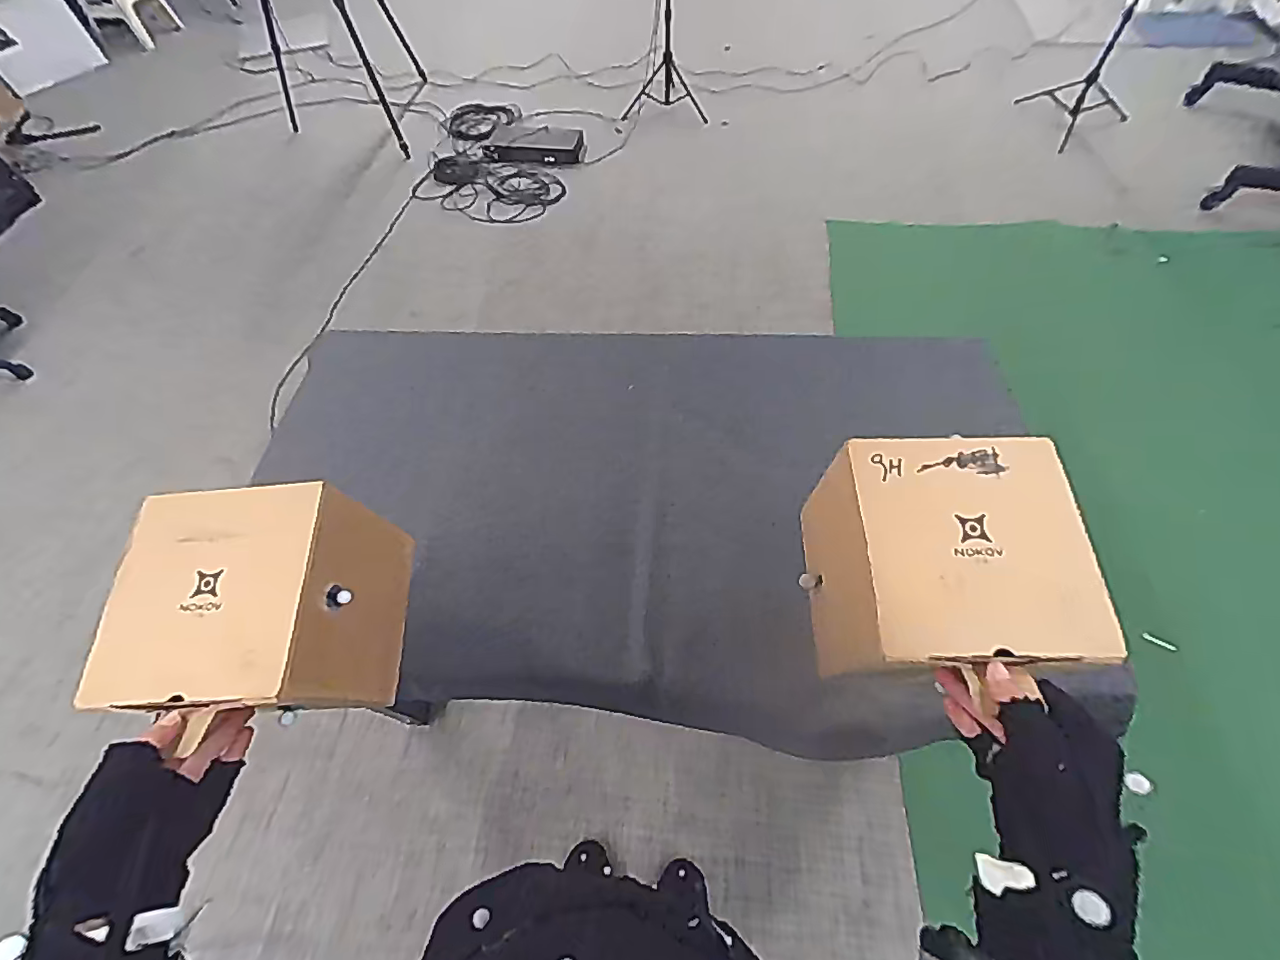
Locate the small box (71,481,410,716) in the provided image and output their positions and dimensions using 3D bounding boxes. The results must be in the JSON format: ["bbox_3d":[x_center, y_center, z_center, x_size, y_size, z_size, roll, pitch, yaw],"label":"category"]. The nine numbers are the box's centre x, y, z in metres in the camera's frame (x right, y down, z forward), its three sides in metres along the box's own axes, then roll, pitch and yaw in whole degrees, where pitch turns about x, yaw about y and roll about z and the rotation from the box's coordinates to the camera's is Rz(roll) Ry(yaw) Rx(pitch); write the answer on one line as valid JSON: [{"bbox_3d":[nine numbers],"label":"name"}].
[{"bbox_3d":[-0.334,0.118,0.498,0.168,0.176,0.179,-5,65,3],"label":"small box"}]

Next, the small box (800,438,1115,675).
[{"bbox_3d":[0.249,0.077,0.479,0.168,0.176,0.179,0,67,1],"label":"small box"}]
